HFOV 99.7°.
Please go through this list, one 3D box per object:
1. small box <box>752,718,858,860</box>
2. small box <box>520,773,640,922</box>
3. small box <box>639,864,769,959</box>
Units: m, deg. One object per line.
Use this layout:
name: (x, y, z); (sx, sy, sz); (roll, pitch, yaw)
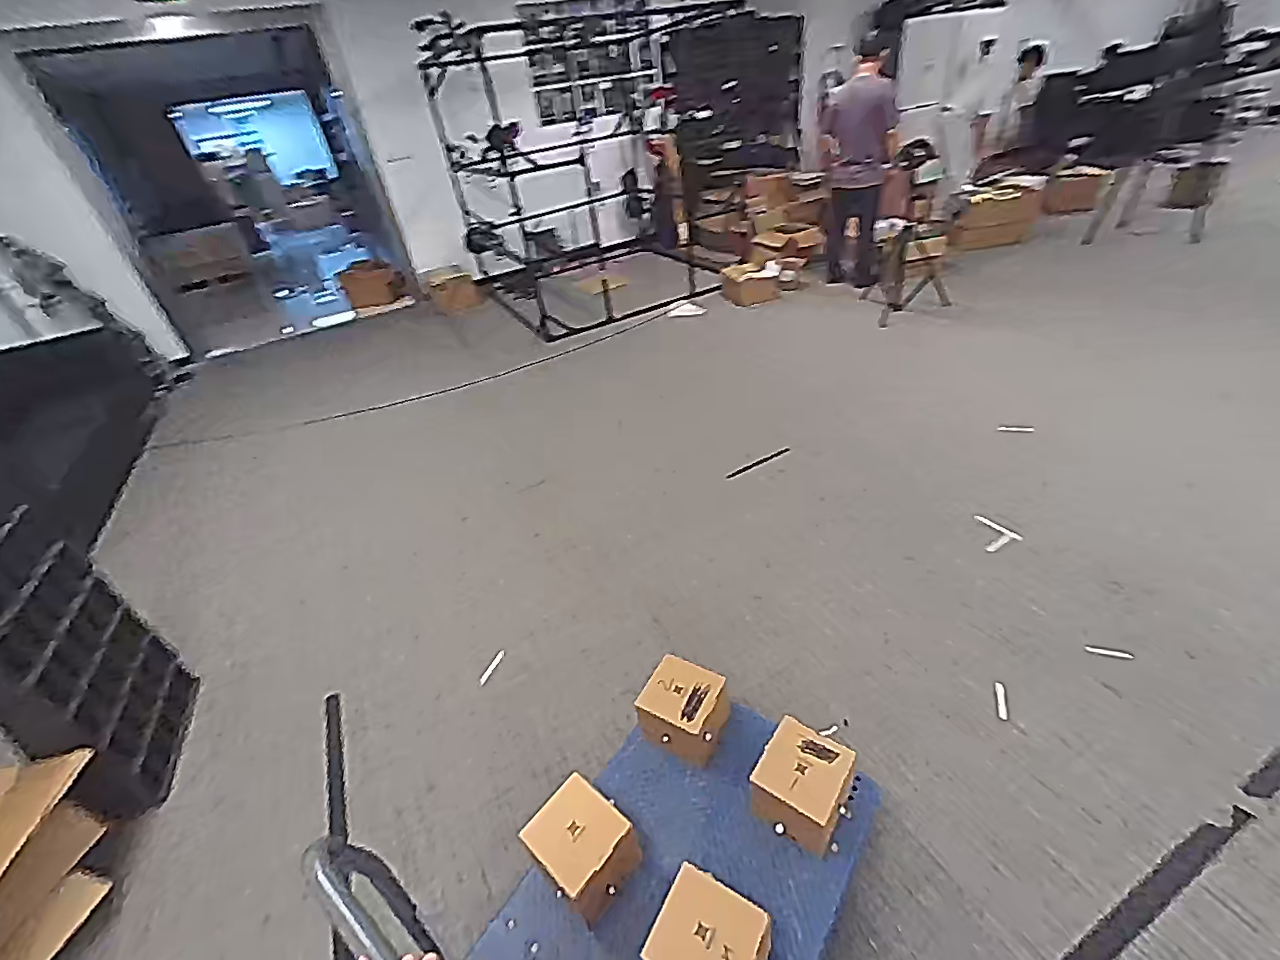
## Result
small box: (0.356, 0.673, 1.183); (0.168, 0.176, 0.179); (19, 45, 35)
small box: (-0.122, 0.779, 1.147); (0.179, 0.176, 0.168); (22, 46, 36)
small box: (0.122, 0.856, 0.978); (0.179, 0.176, 0.168); (14, 41, 31)
